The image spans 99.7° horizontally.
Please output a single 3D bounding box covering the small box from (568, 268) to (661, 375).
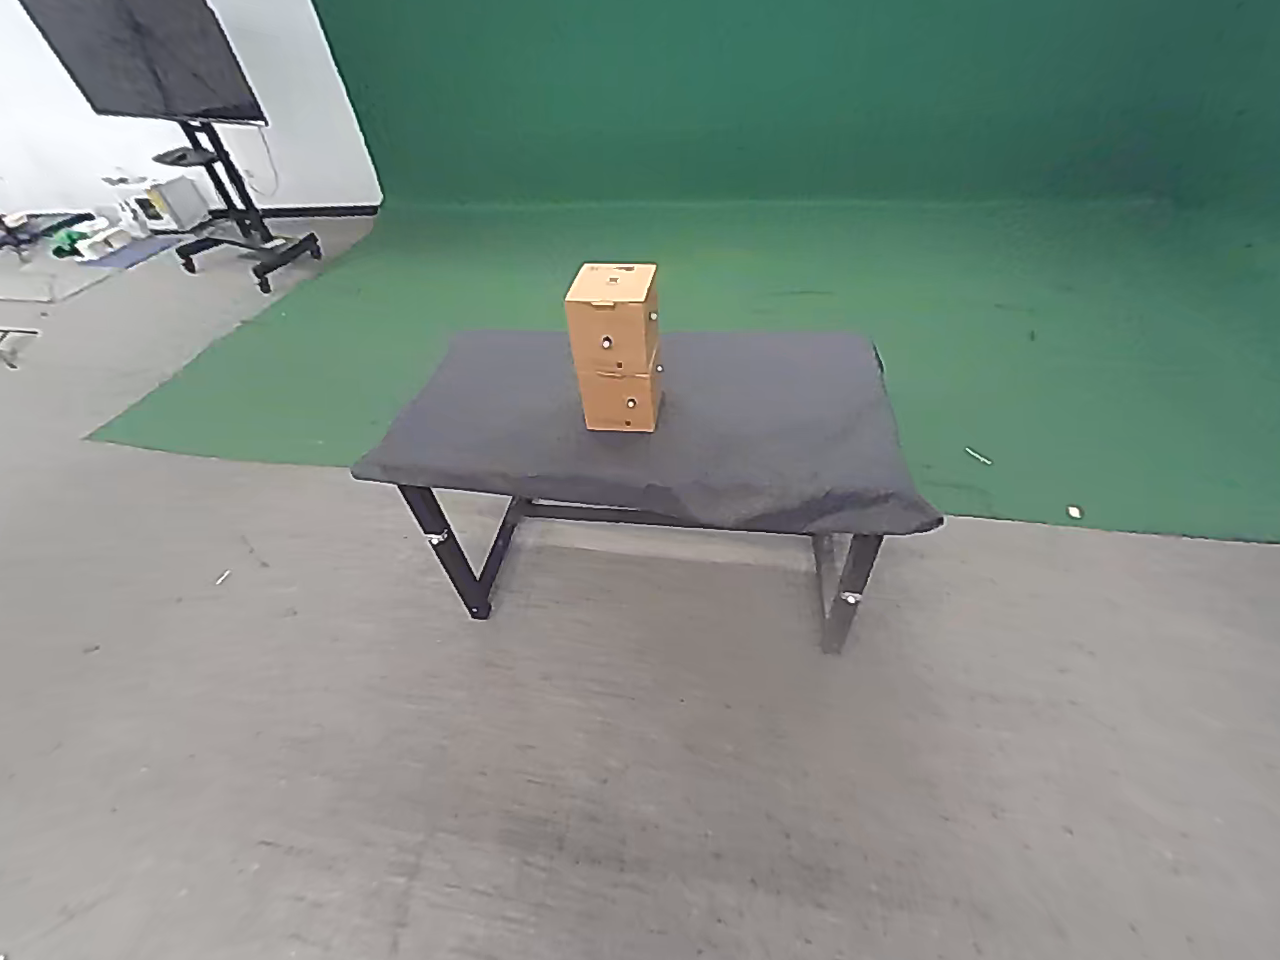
[{"bbox_3d":[-0.046,-0.348,1.191,0.168,0.176,0.179,5,47,9],"label":"small box"}]

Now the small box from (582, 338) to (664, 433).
[{"bbox_3d":[-0.033,-0.228,1.303,0.168,0.176,0.179,4,44,8],"label":"small box"}]
